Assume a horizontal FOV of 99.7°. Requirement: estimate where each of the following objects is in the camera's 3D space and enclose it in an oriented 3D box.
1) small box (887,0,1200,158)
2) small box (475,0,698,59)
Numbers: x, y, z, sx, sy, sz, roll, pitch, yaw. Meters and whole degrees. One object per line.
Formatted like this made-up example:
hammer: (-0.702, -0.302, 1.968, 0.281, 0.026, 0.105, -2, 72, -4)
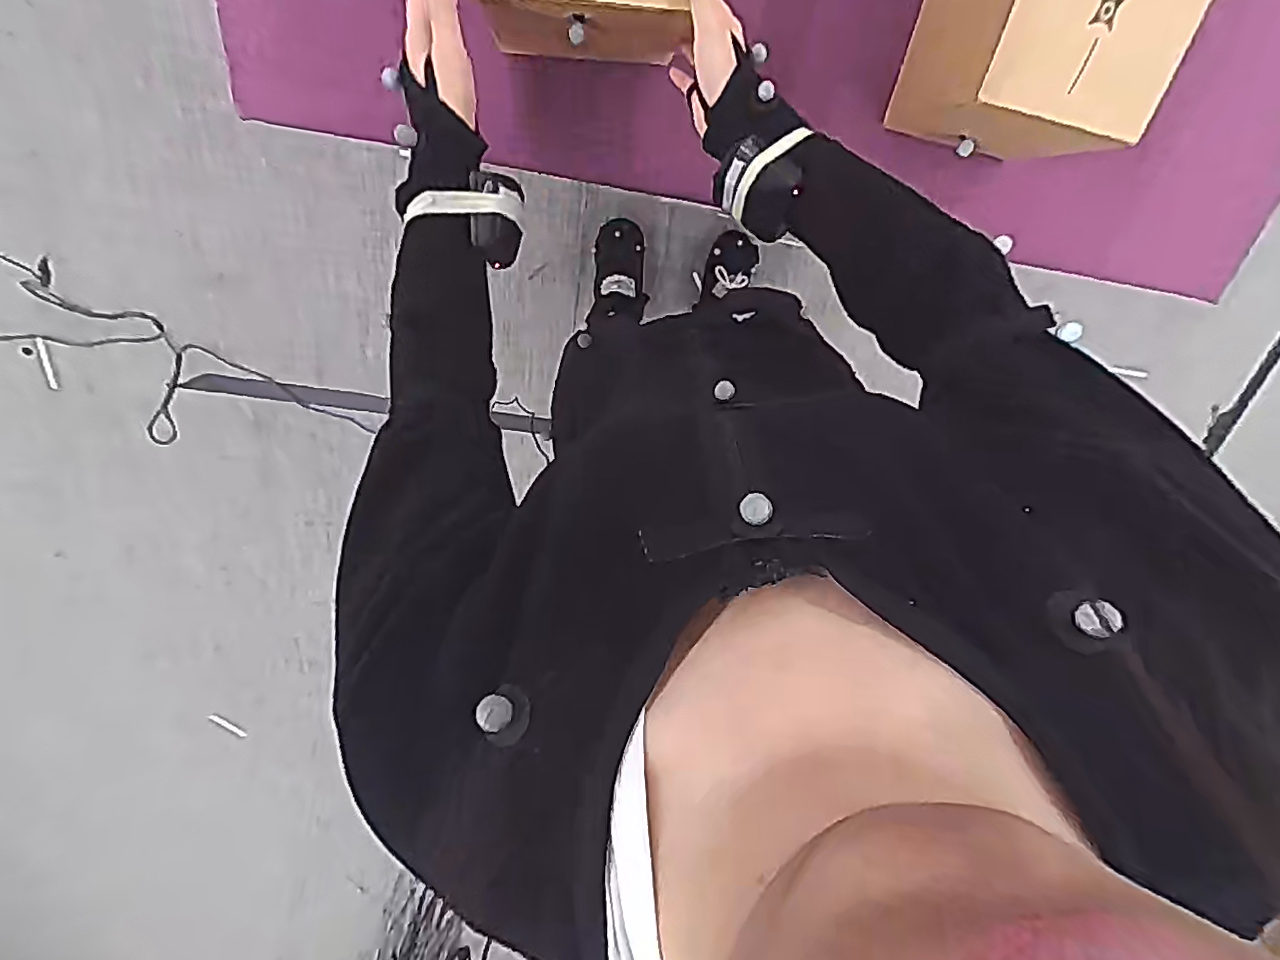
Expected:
small box: (0.369, -0.425, 0.510, 0.168, 0.176, 0.179, 8, 116, -9)
small box: (-0.045, -0.472, 0.447, 0.179, 0.176, 0.168, 1, 117, -5)
